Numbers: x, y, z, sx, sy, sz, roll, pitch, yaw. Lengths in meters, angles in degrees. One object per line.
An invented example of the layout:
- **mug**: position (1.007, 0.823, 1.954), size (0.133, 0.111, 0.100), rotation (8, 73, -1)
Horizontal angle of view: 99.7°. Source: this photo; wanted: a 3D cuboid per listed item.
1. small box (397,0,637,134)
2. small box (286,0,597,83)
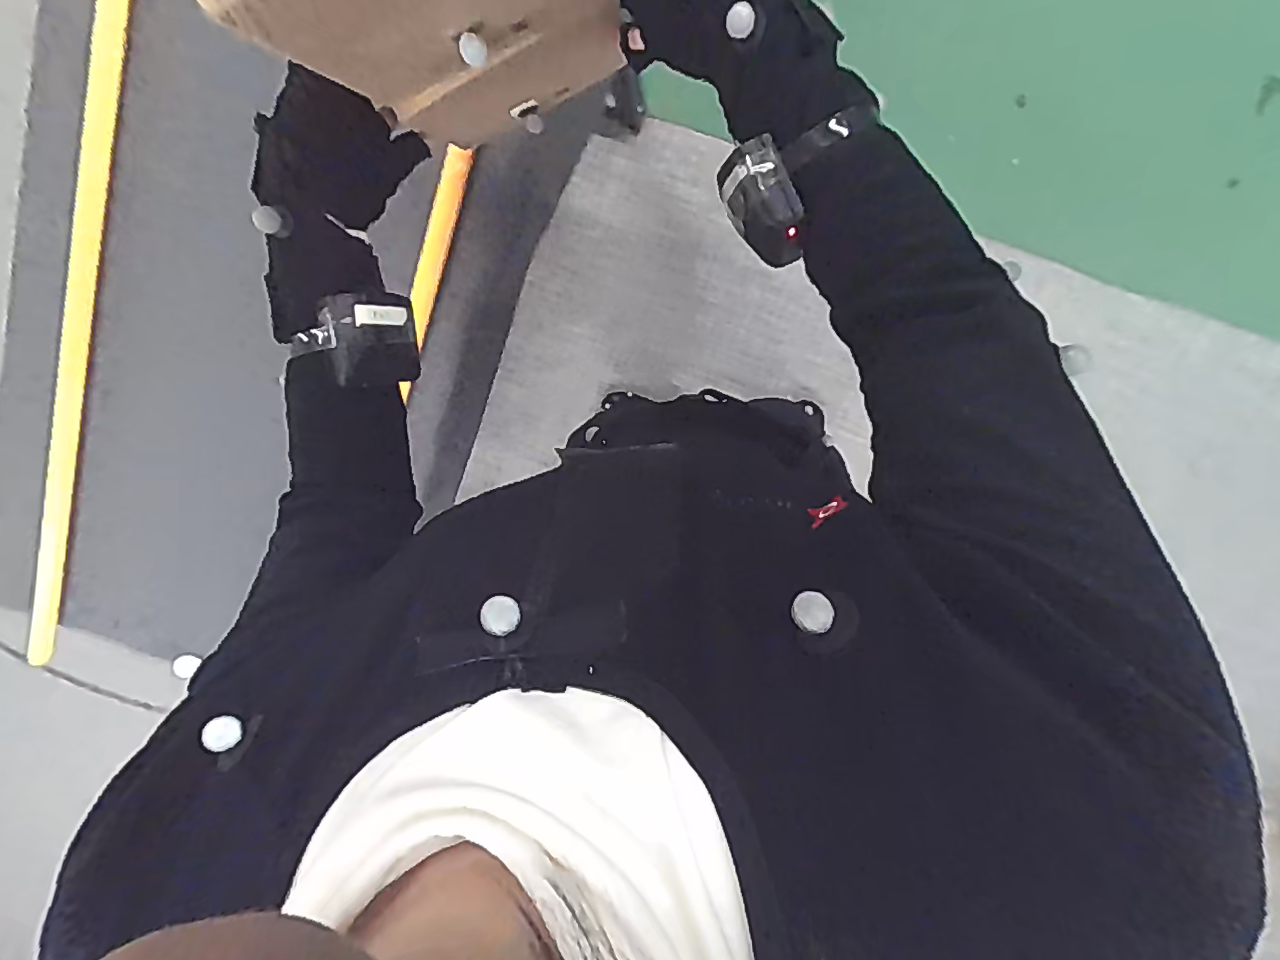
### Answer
- **small box**: position (-0.110, -0.384, 0.386), size (0.168, 0.176, 0.179), rotation (-21, 114, 11)
- **small box**: position (-0.113, -0.319, 0.235), size (0.168, 0.176, 0.179), rotation (-18, 114, 10)
